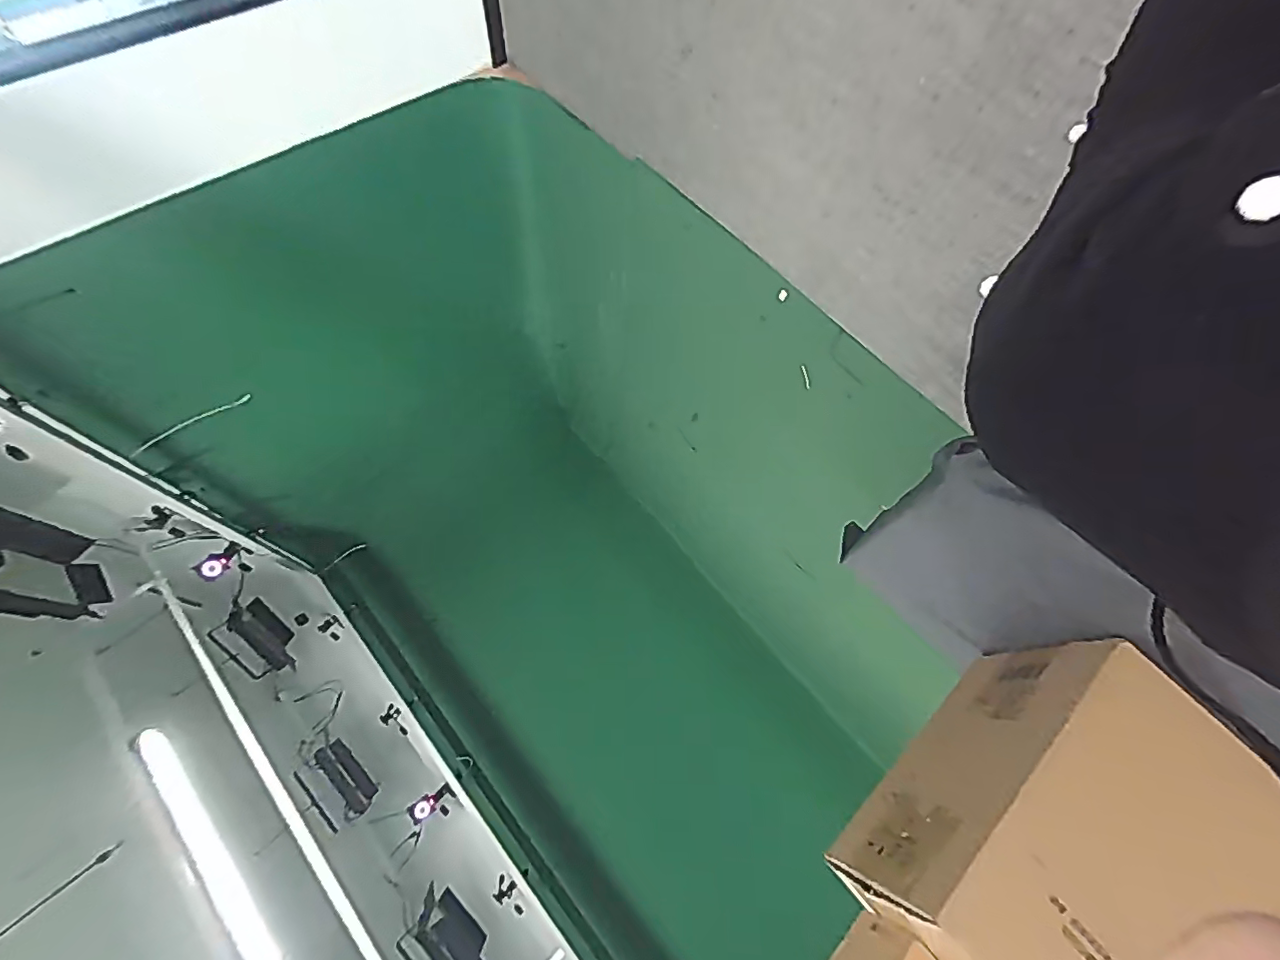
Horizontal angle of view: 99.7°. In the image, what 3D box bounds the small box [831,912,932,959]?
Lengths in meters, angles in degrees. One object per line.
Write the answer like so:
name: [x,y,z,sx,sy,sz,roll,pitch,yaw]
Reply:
small box: [0.429,0.879,0.892,0.179,0.176,0.168,47,156,13]
